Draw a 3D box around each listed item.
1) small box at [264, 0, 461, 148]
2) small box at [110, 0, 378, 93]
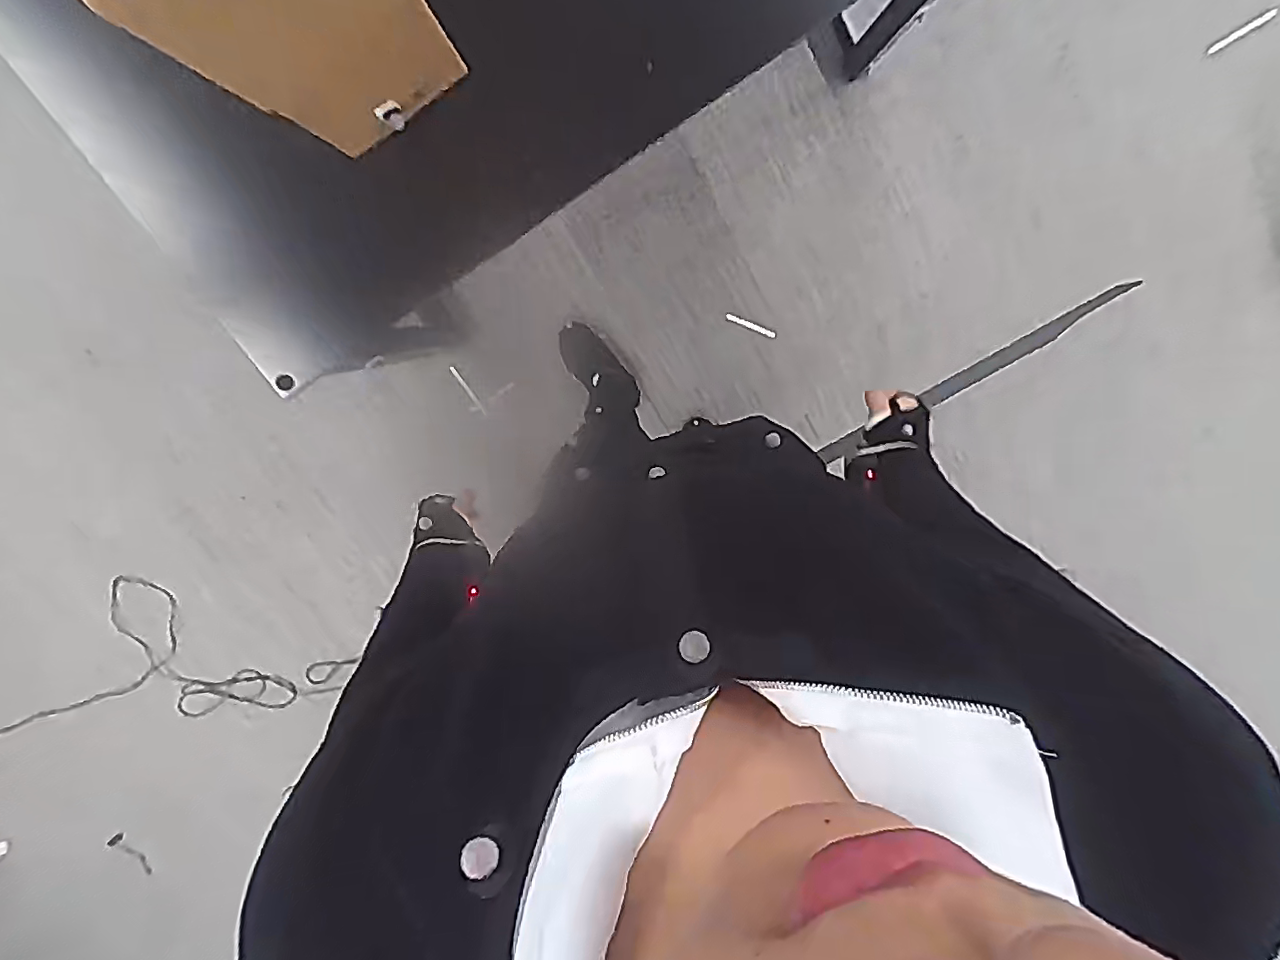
[{"bbox_3d":[-0.308,-0.467,0.520,0.168,0.176,0.179,-33,105,9],"label":"small box"},{"bbox_3d":[-0.303,-0.416,0.364,0.179,0.176,0.168,-34,104,8],"label":"small box"}]
